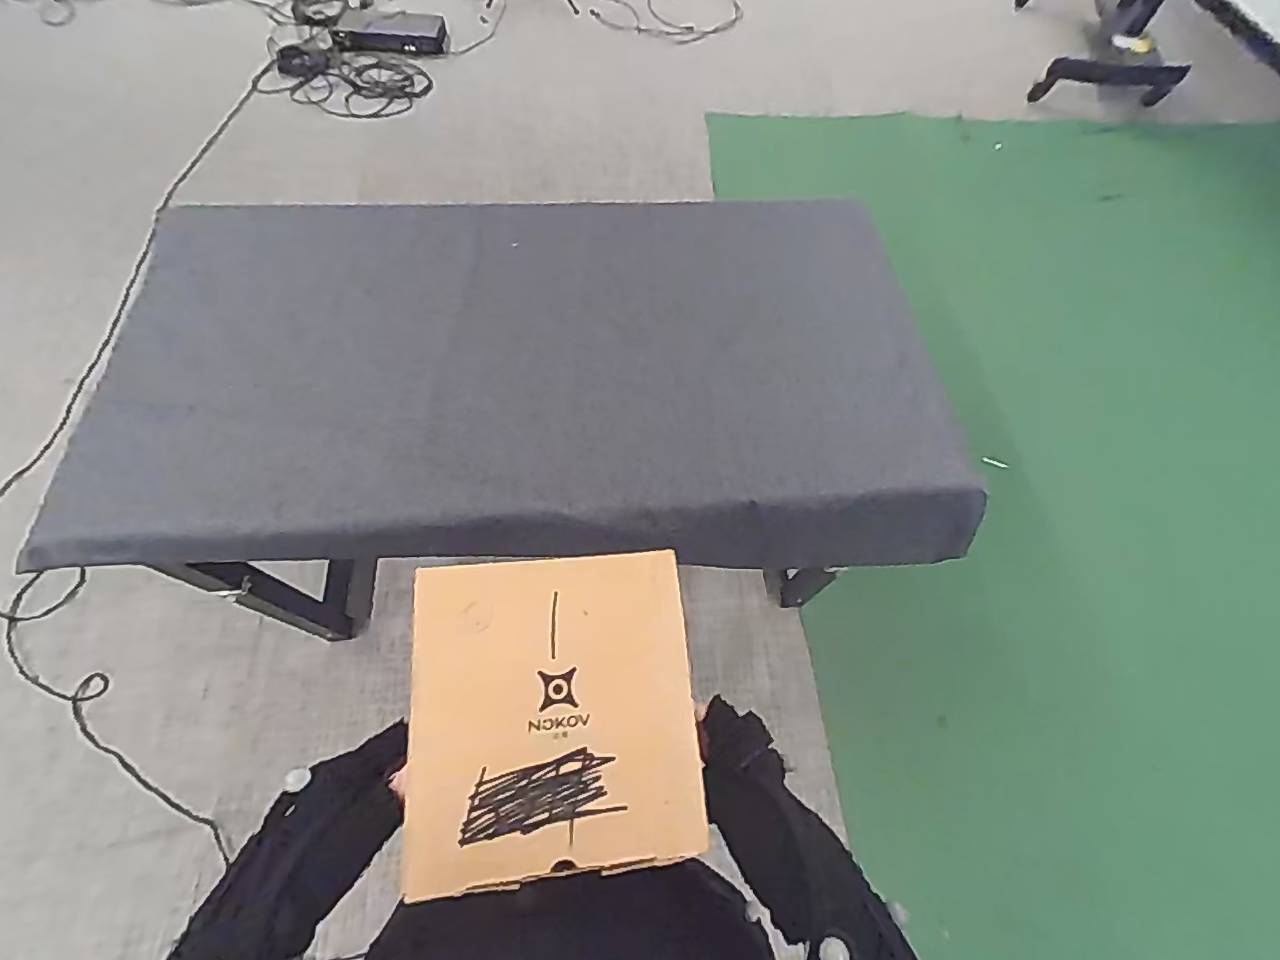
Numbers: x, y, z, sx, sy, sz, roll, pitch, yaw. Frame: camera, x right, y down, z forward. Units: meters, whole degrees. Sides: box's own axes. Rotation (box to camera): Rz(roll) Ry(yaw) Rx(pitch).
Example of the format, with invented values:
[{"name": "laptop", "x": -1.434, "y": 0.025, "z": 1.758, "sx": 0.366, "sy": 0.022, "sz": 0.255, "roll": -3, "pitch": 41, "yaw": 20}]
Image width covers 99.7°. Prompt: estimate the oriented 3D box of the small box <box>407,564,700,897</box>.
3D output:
[{"name": "small box", "x": -0.061, "y": 0.166, "z": 0.401, "sx": 0.168, "sy": 0.176, "sz": 0.179, "roll": -1, "pitch": 70, "yaw": -10}]
